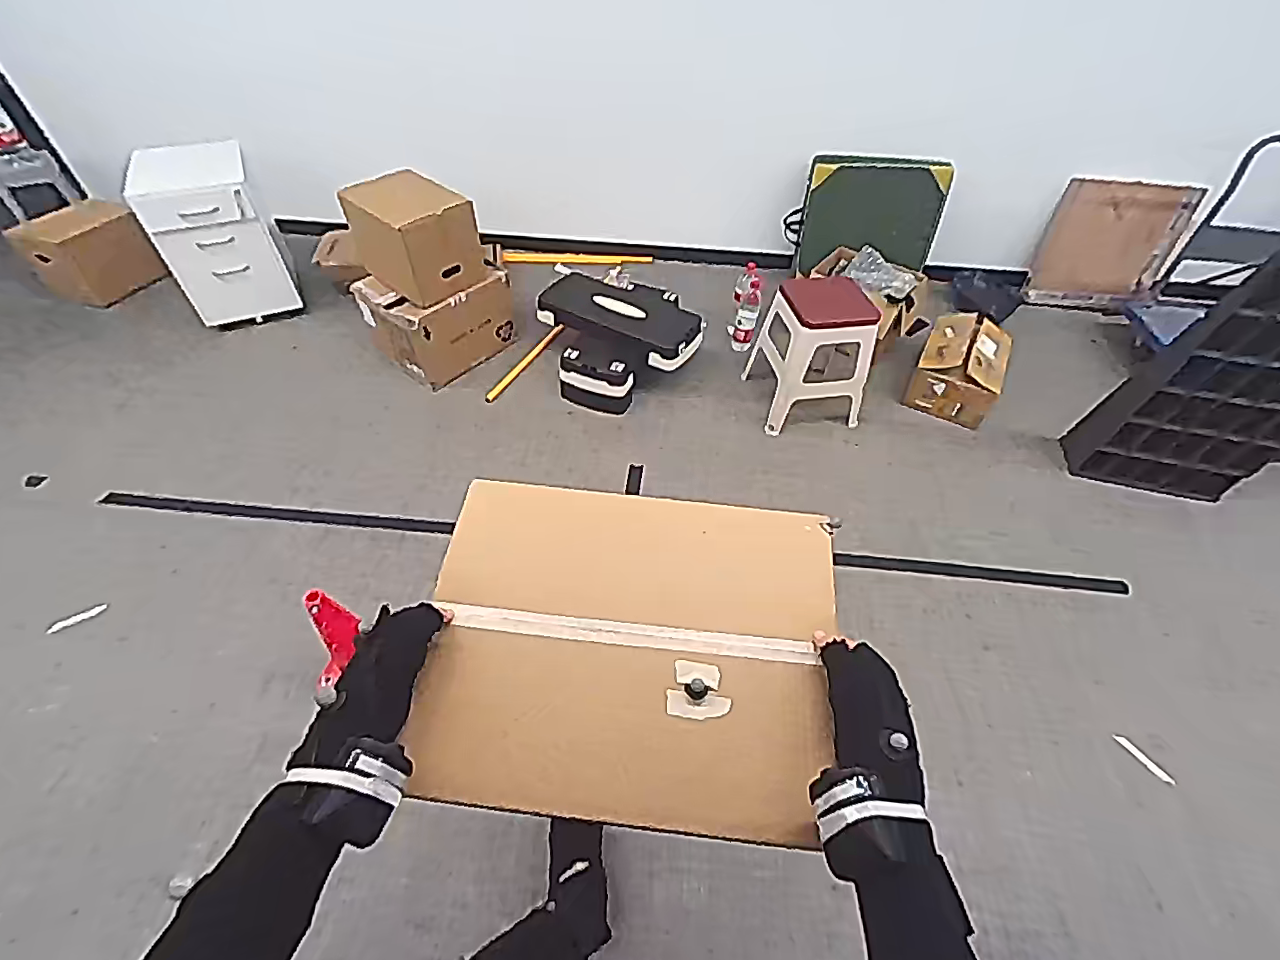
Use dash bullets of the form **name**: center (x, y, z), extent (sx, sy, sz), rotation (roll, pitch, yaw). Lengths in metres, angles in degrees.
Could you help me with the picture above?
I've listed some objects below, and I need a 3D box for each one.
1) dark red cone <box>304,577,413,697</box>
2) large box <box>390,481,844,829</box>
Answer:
- **dark red cone**: center (-0.728, 0.358, 1.326), extent (0.201, 0.394, 0.202), rotation (11, 49, 6)
- **large box**: center (-0.013, 0.227, 0.667), extent (0.408, 0.320, 0.320), rotation (6, 59, 2)
